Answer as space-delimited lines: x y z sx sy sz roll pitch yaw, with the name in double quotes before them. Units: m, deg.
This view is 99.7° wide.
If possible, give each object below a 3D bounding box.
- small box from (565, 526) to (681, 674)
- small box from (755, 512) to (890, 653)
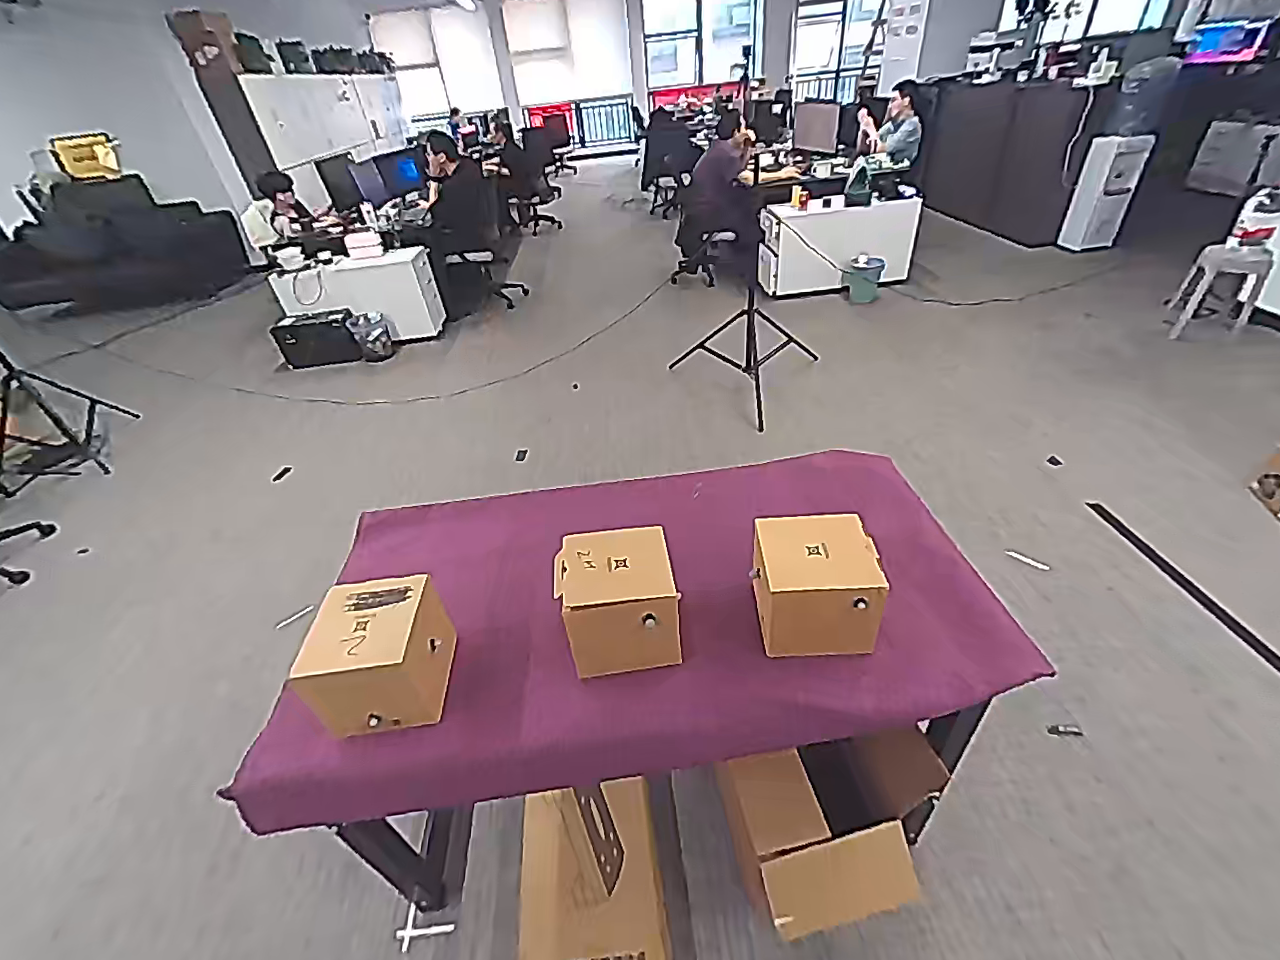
"small box" -0.027 0.202 0.913 0.179 0.176 0.168 -8 35 -2
"small box" 0.290 0.173 0.904 0.179 0.176 0.168 -4 37 4
